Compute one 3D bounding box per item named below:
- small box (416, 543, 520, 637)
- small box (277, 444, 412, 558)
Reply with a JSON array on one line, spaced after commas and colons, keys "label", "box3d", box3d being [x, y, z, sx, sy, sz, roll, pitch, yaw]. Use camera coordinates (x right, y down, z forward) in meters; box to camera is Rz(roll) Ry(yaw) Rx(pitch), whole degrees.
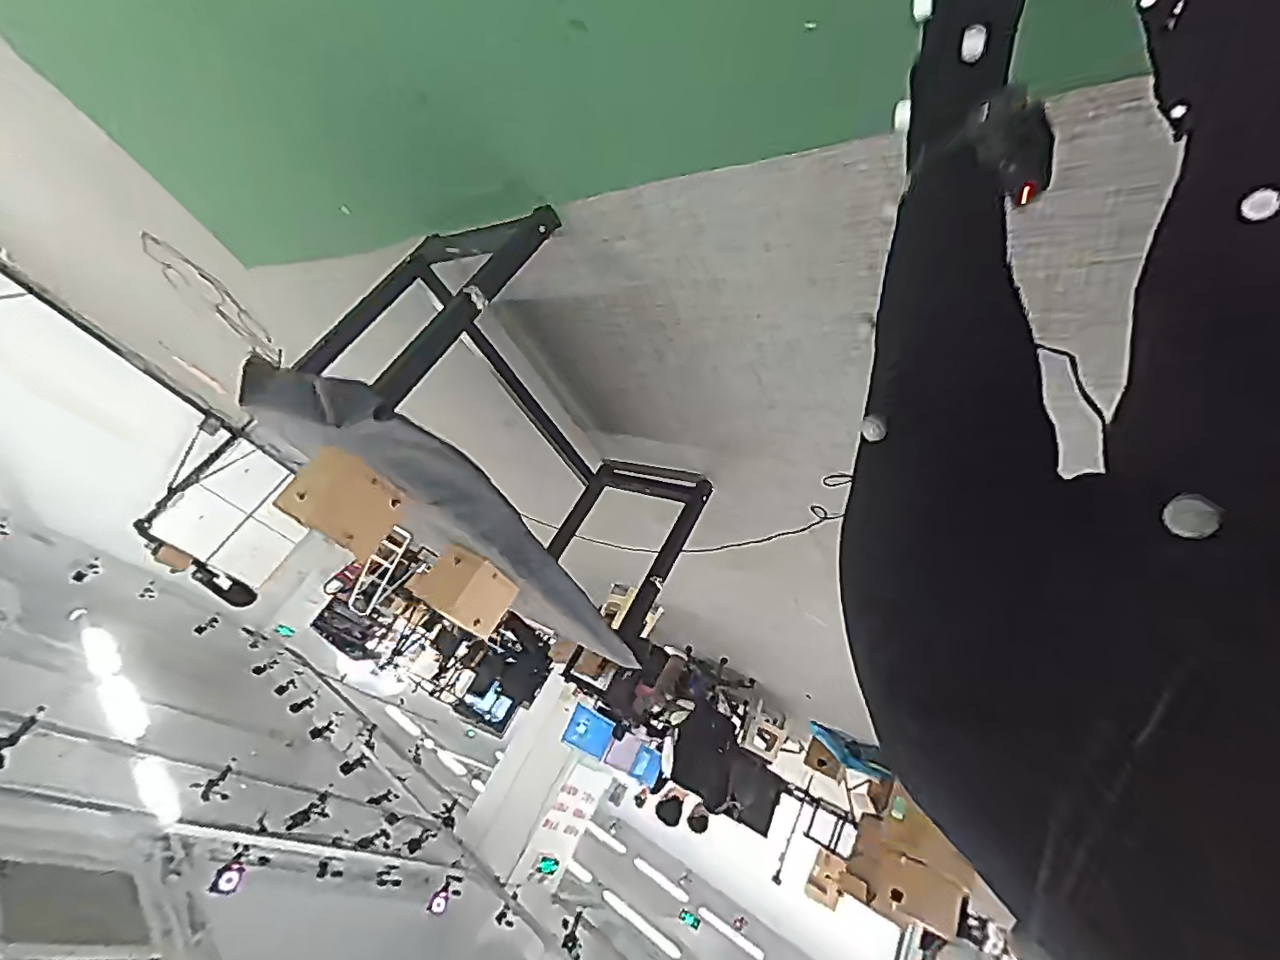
[{"label": "small box", "box3d": [-0.464, 0.294, 1.478, 0.179, 0.176, 0.168, 13, 150, 39]}, {"label": "small box", "box3d": [-0.634, 0.040, 1.180, 0.179, 0.176, 0.168, 14, 152, 39]}]
